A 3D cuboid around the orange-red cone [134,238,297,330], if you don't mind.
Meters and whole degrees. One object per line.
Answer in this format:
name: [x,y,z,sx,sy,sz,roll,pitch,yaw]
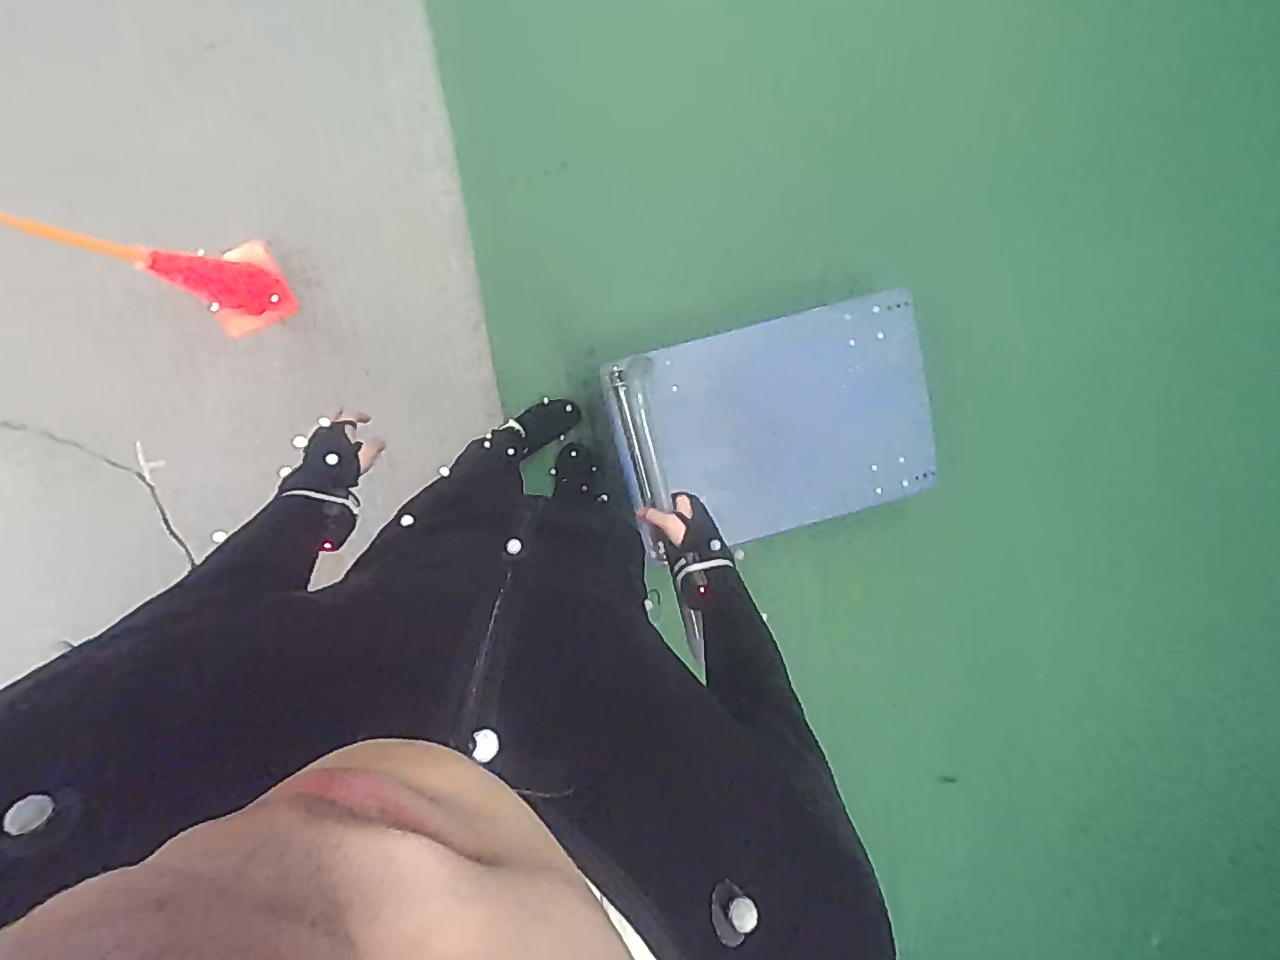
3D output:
orange-red cone: [-1.029,-0.497,1.273,0.198,0.360,0.199,-23,99,-2]
